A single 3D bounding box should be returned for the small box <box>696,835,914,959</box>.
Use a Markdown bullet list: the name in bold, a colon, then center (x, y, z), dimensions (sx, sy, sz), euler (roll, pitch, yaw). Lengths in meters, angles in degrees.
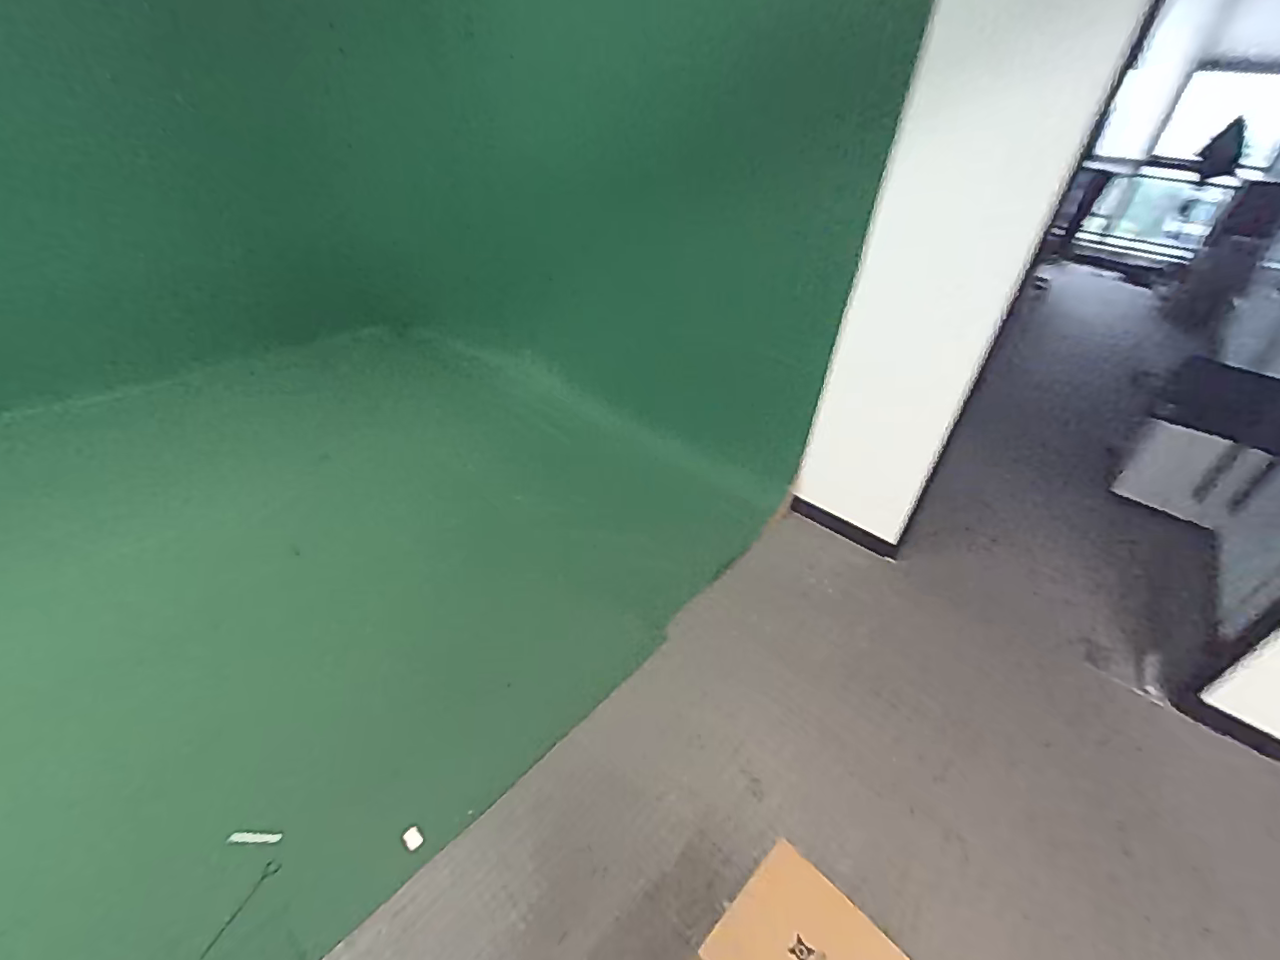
- **small box**: center (0.175, 0.571, 0.620), dimensions (0.168, 0.176, 0.179), euler (-27, 46, -36)
